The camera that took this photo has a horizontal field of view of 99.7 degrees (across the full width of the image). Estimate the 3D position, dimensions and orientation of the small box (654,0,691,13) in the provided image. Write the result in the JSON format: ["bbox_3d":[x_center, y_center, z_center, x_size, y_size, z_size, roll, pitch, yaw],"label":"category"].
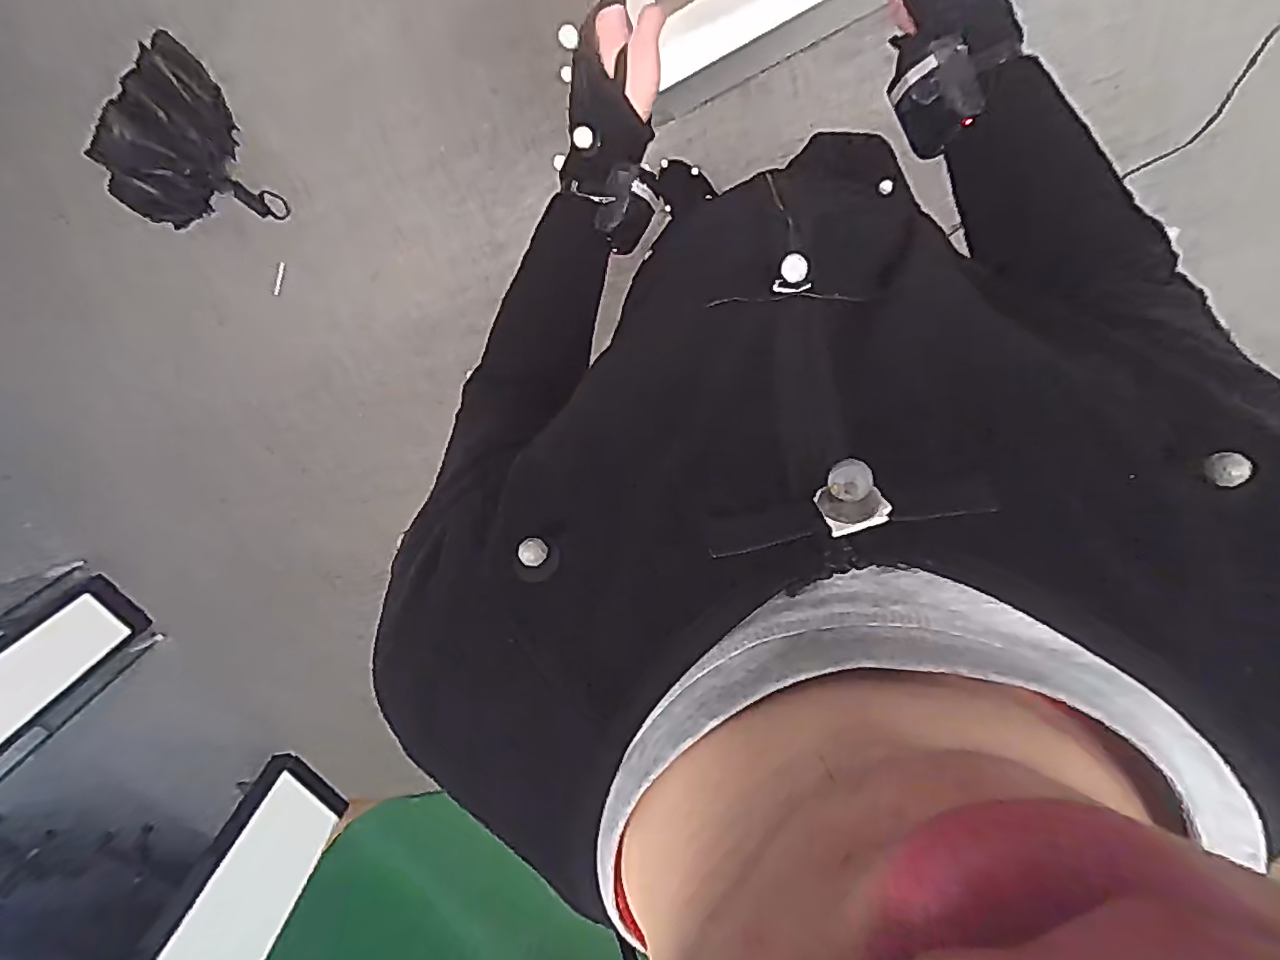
[{"bbox_3d":[0.055,-0.637,0.556,0.168,0.176,0.179,-19,117,17],"label":"small box"}]
